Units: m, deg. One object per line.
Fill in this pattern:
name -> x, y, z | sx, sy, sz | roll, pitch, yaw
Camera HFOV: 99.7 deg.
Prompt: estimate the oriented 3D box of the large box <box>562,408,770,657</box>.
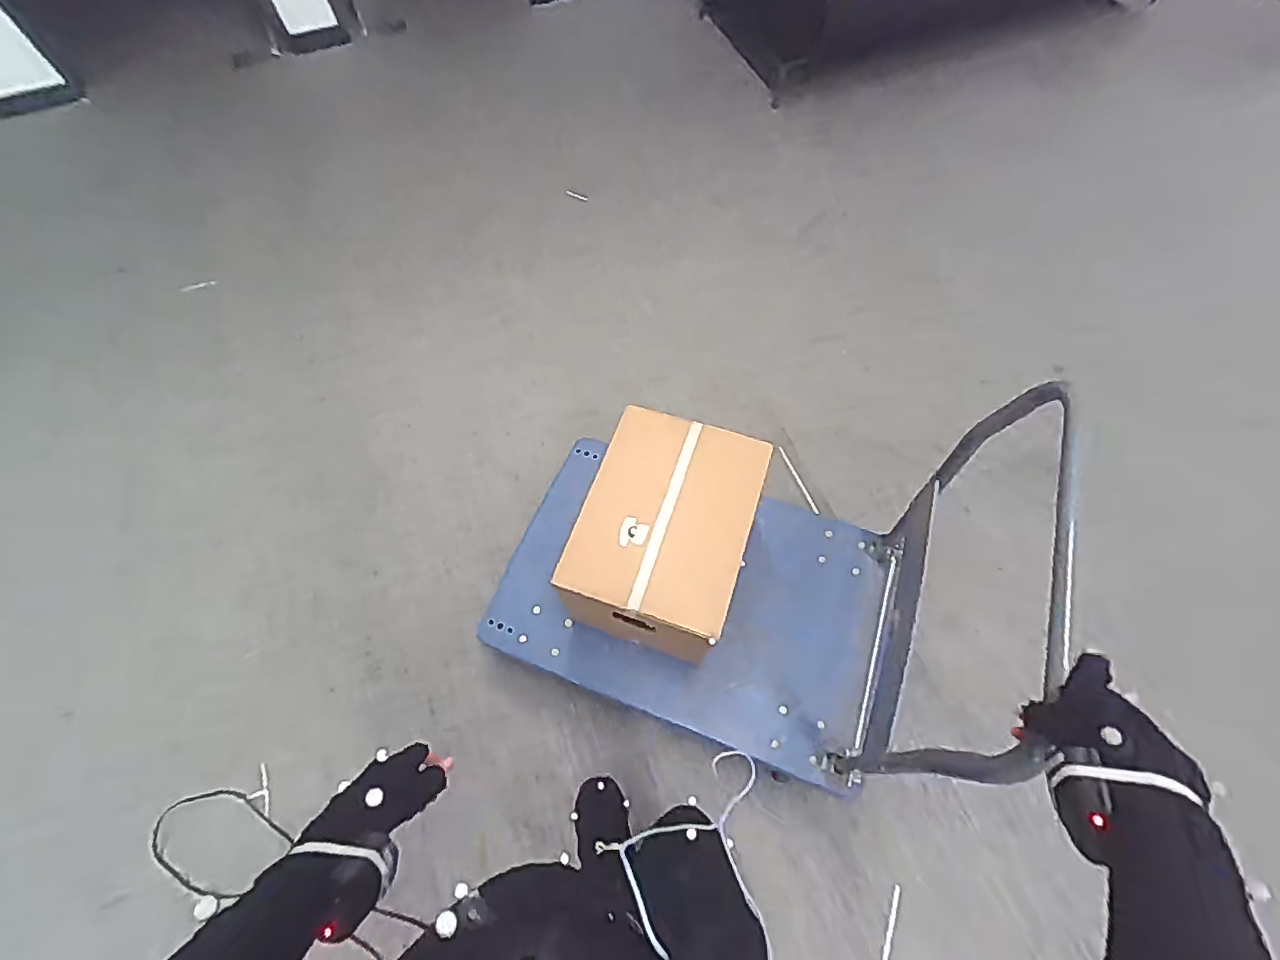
large box -> 0.063, 0.121, 1.160 | 0.320, 0.320, 0.408 | 15, 66, 10
